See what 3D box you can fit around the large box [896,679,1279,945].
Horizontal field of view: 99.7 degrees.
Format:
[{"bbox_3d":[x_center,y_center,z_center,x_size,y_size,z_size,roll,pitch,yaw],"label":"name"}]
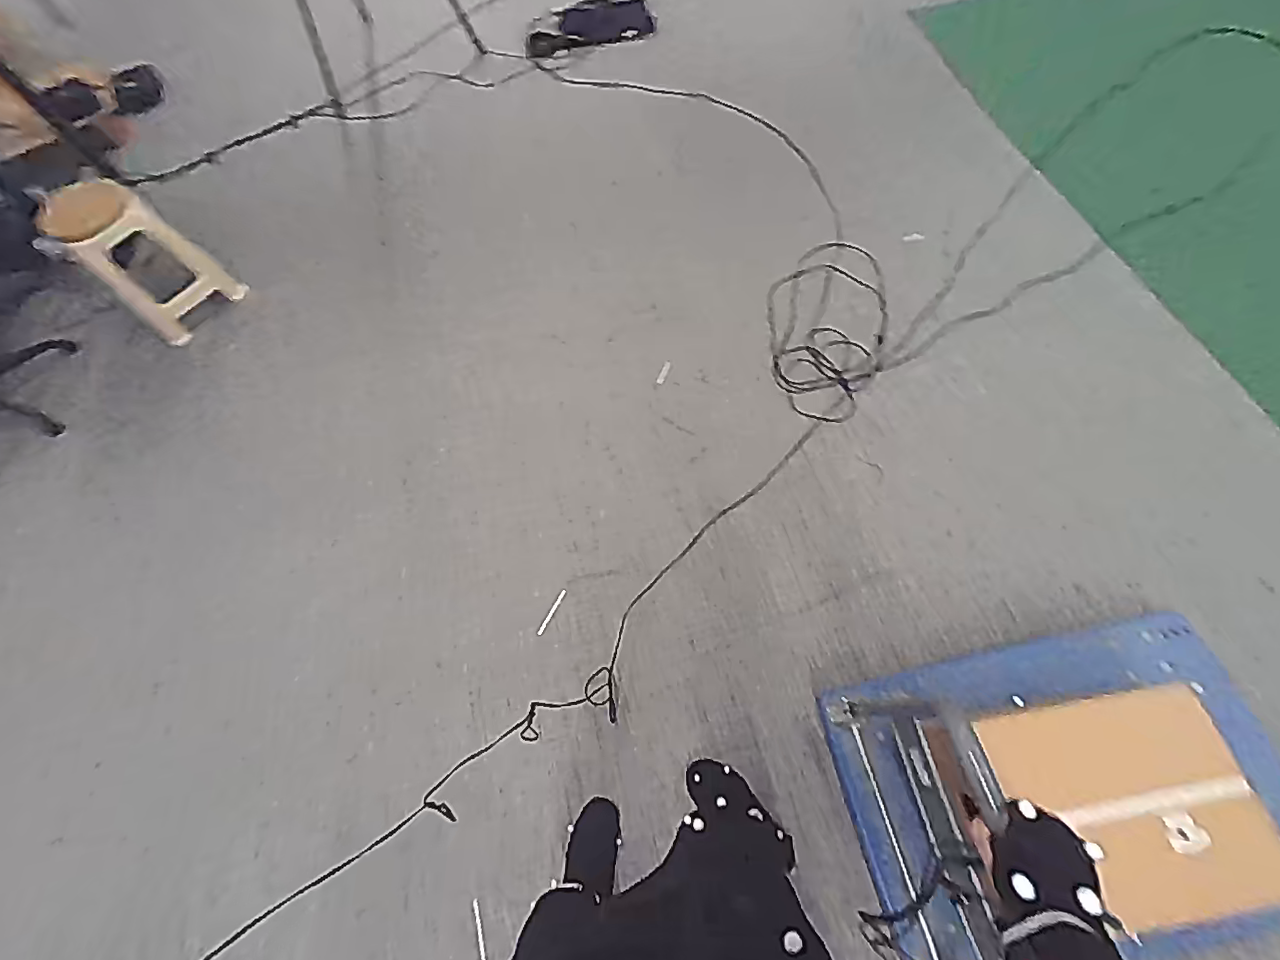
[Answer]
[{"bbox_3d":[0.772,0.583,1.003,0.408,0.320,0.320,-11,65,0],"label":"large box"}]
